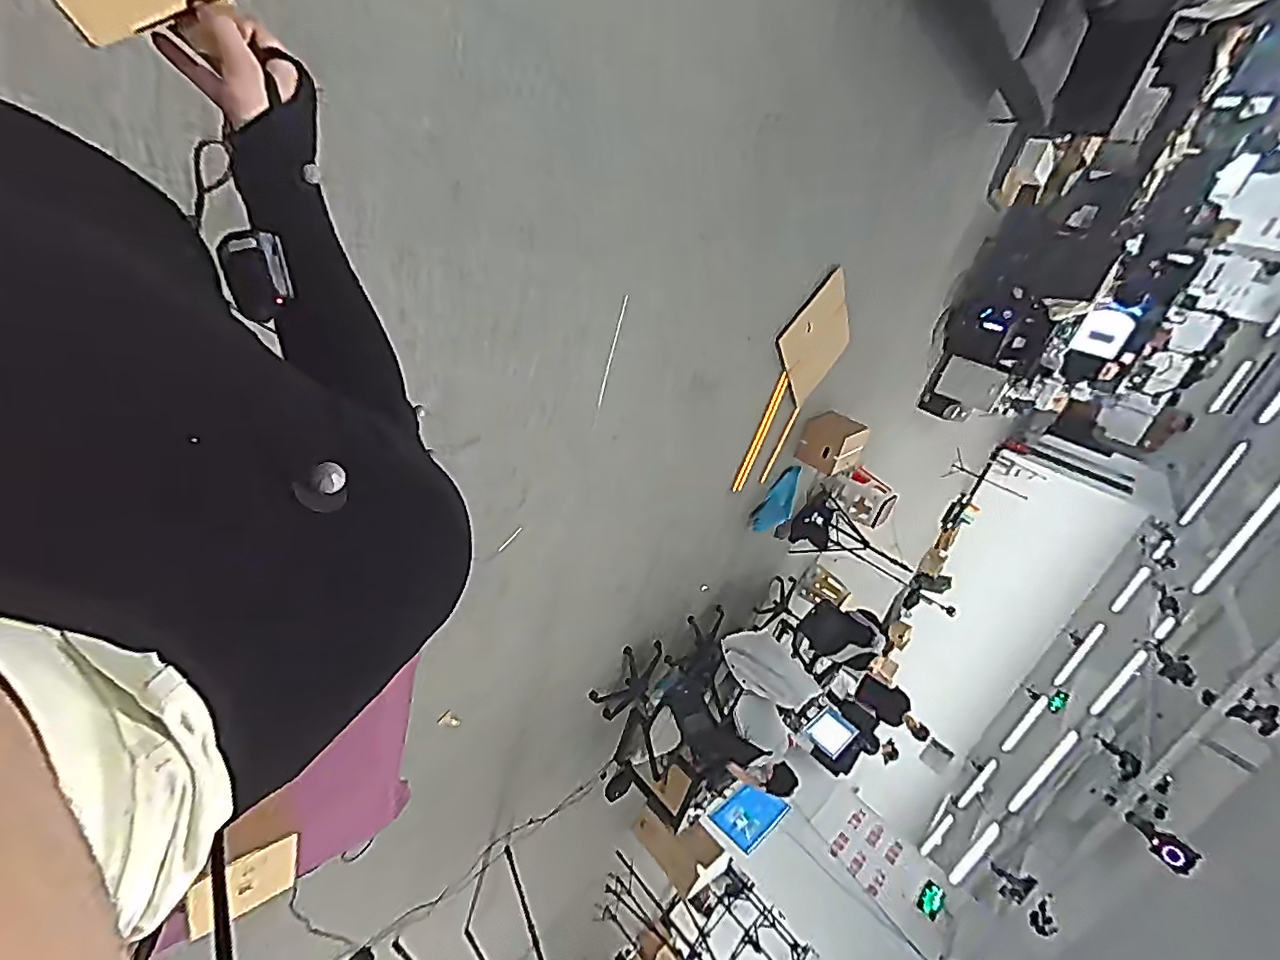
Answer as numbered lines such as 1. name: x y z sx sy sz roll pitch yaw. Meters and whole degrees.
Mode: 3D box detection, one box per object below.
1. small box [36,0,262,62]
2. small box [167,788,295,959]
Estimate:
1. small box: -0.420 -0.456 0.406 0.168 0.176 0.179 -41 144 -17
2. small box: -0.786 0.745 1.038 0.168 0.176 0.179 -8 123 -47
